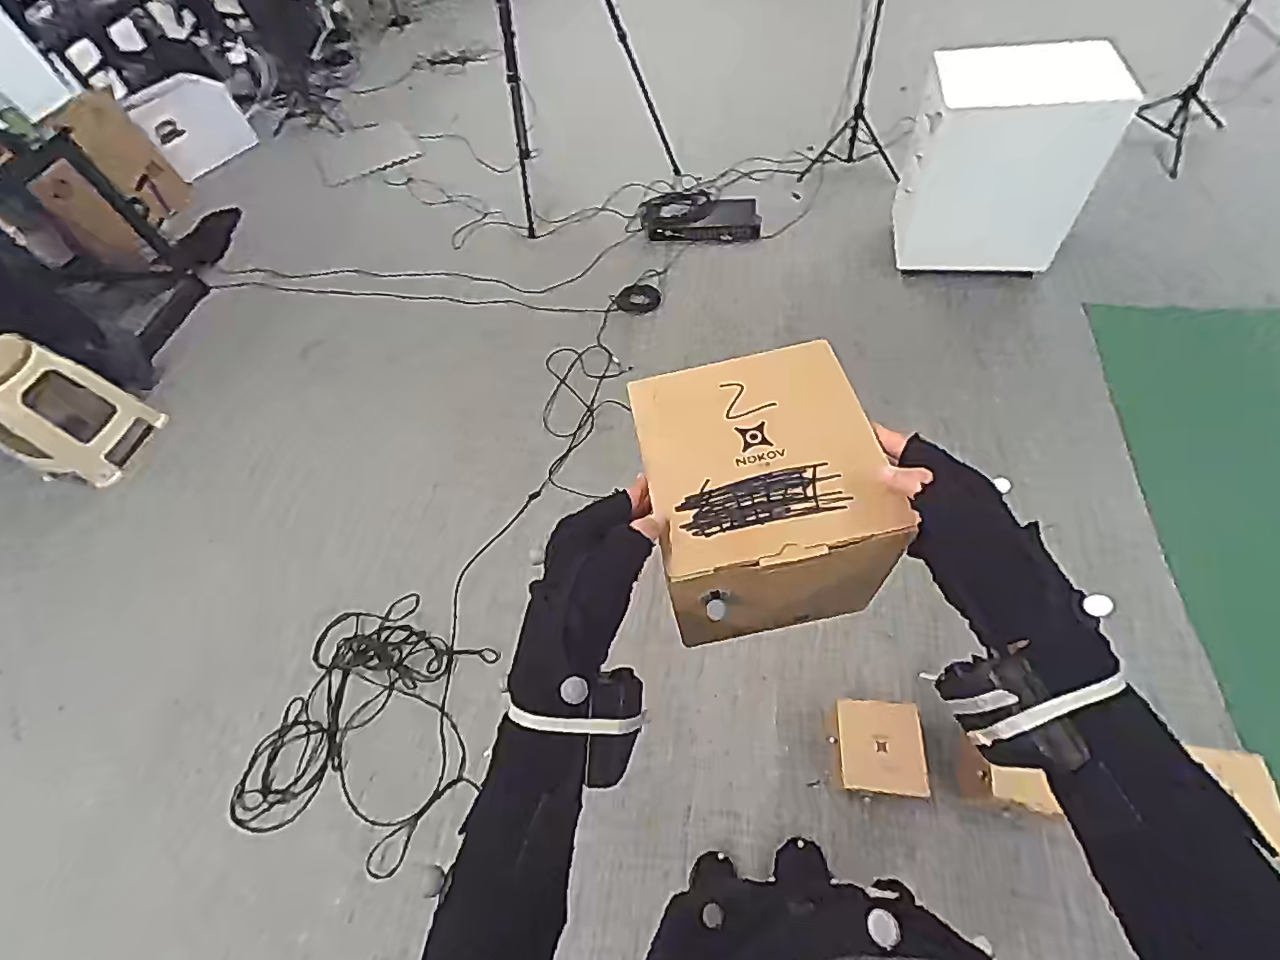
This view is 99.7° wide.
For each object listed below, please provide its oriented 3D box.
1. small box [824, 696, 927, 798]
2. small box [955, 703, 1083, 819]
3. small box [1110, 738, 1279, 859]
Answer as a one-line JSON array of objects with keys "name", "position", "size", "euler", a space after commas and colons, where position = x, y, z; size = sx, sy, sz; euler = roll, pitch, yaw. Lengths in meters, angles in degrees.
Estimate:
[{"name": "small box", "position": [0.507, 0.589, 1.191], "size": [0.168, 0.176, 0.179], "euler": [0, 59, 10]}, {"name": "small box", "position": [0.789, 0.598, 1.148], "size": [0.168, 0.176, 0.179], "euler": [9, 59, 13]}, {"name": "small box", "position": [1.099, 0.635, 1.081], "size": [0.168, 0.176, 0.179], "euler": [5, 57, 11]}]
